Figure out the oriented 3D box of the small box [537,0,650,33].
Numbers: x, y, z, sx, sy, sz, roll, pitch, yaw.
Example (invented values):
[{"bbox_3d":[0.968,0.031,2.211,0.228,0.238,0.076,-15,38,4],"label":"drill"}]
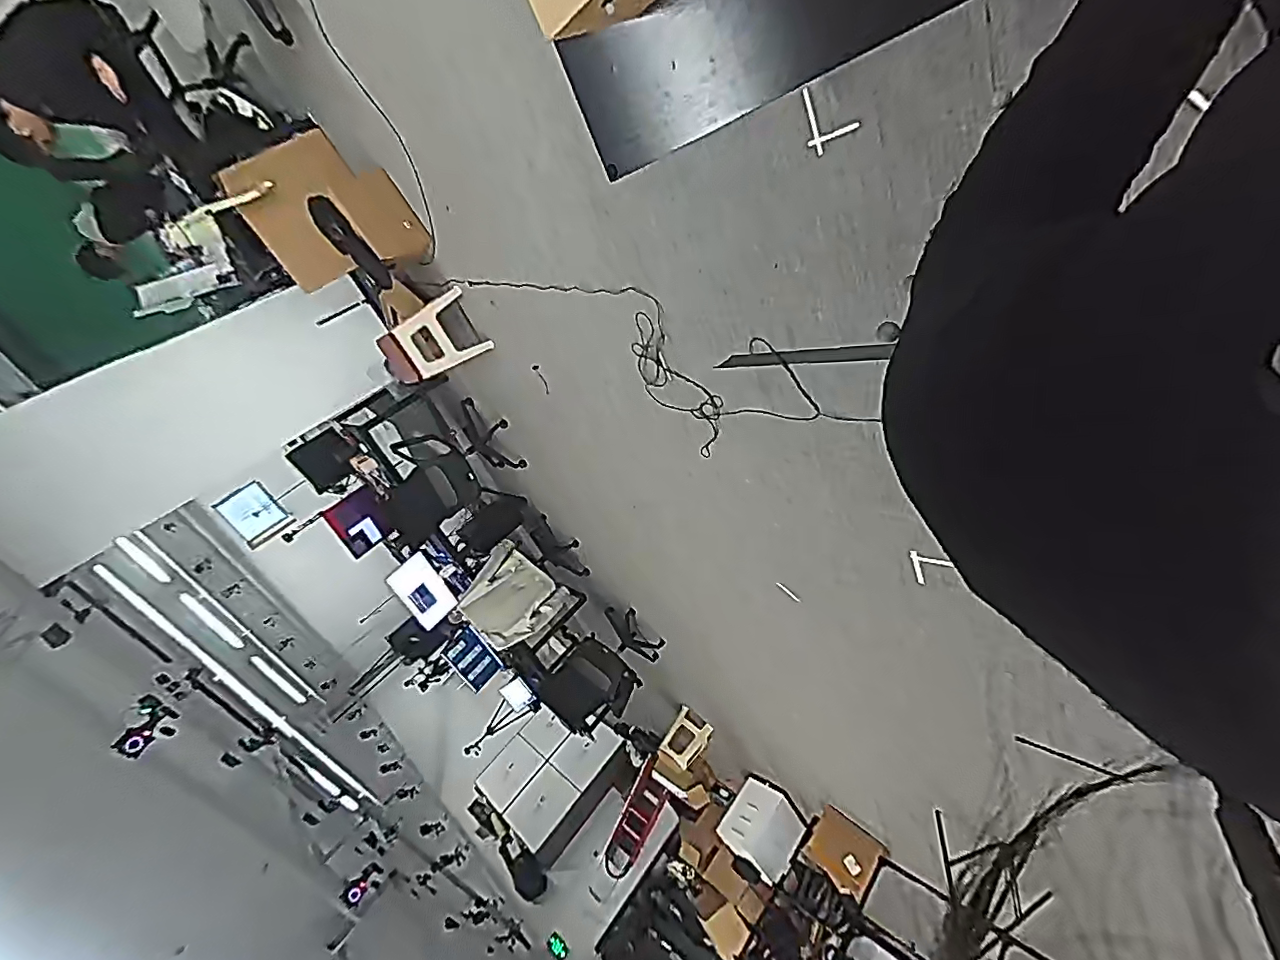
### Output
[{"bbox_3d":[-0.035,-0.657,0.611,0.179,0.176,0.168,5,131,49],"label":"small box"}]
